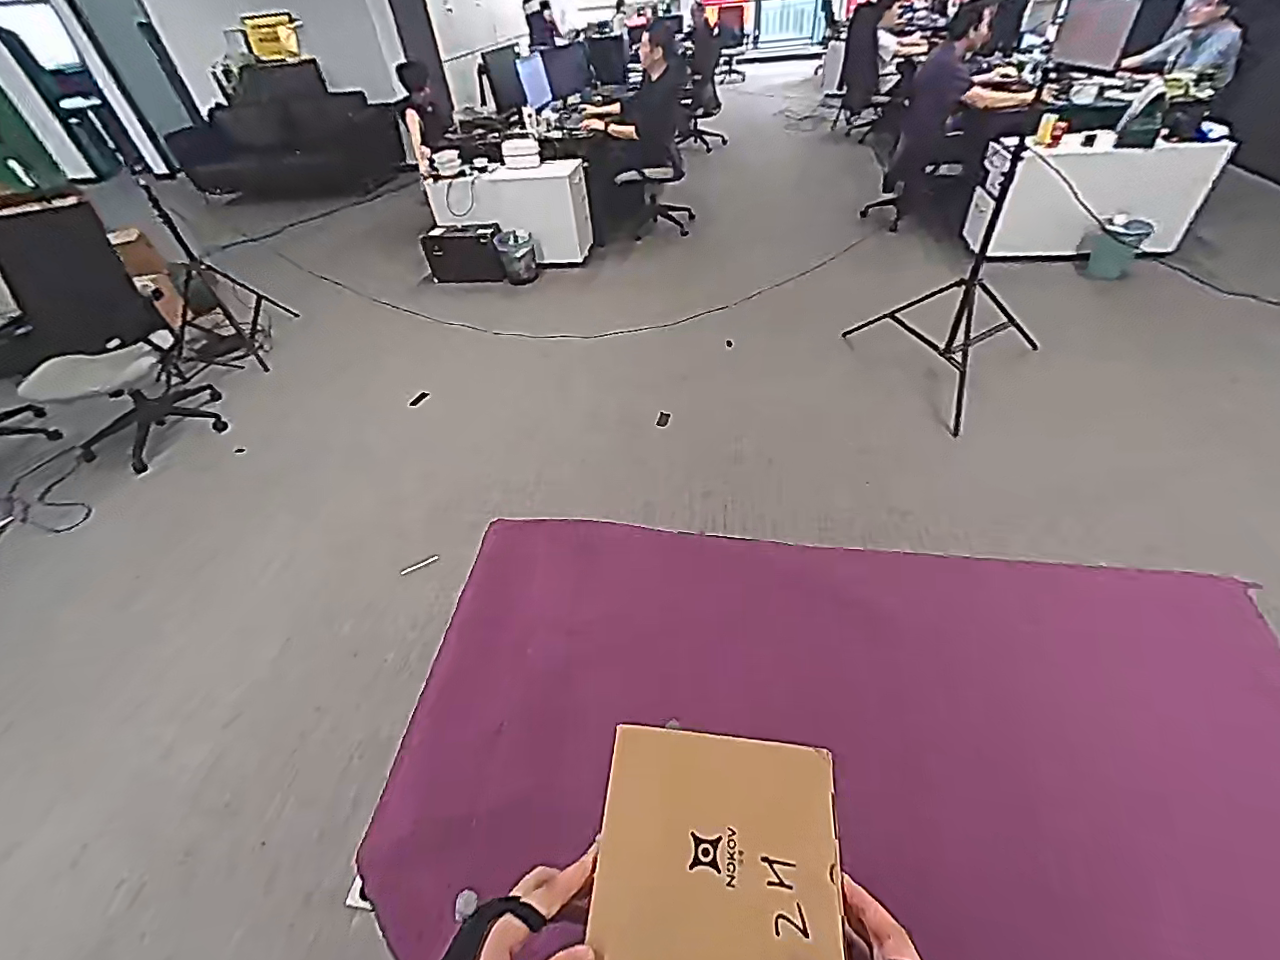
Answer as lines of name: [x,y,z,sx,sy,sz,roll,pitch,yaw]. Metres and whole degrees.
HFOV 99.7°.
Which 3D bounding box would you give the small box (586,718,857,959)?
small box: [0.066,0.315,0.450,0.179,0.176,0.168,3,52,7]
